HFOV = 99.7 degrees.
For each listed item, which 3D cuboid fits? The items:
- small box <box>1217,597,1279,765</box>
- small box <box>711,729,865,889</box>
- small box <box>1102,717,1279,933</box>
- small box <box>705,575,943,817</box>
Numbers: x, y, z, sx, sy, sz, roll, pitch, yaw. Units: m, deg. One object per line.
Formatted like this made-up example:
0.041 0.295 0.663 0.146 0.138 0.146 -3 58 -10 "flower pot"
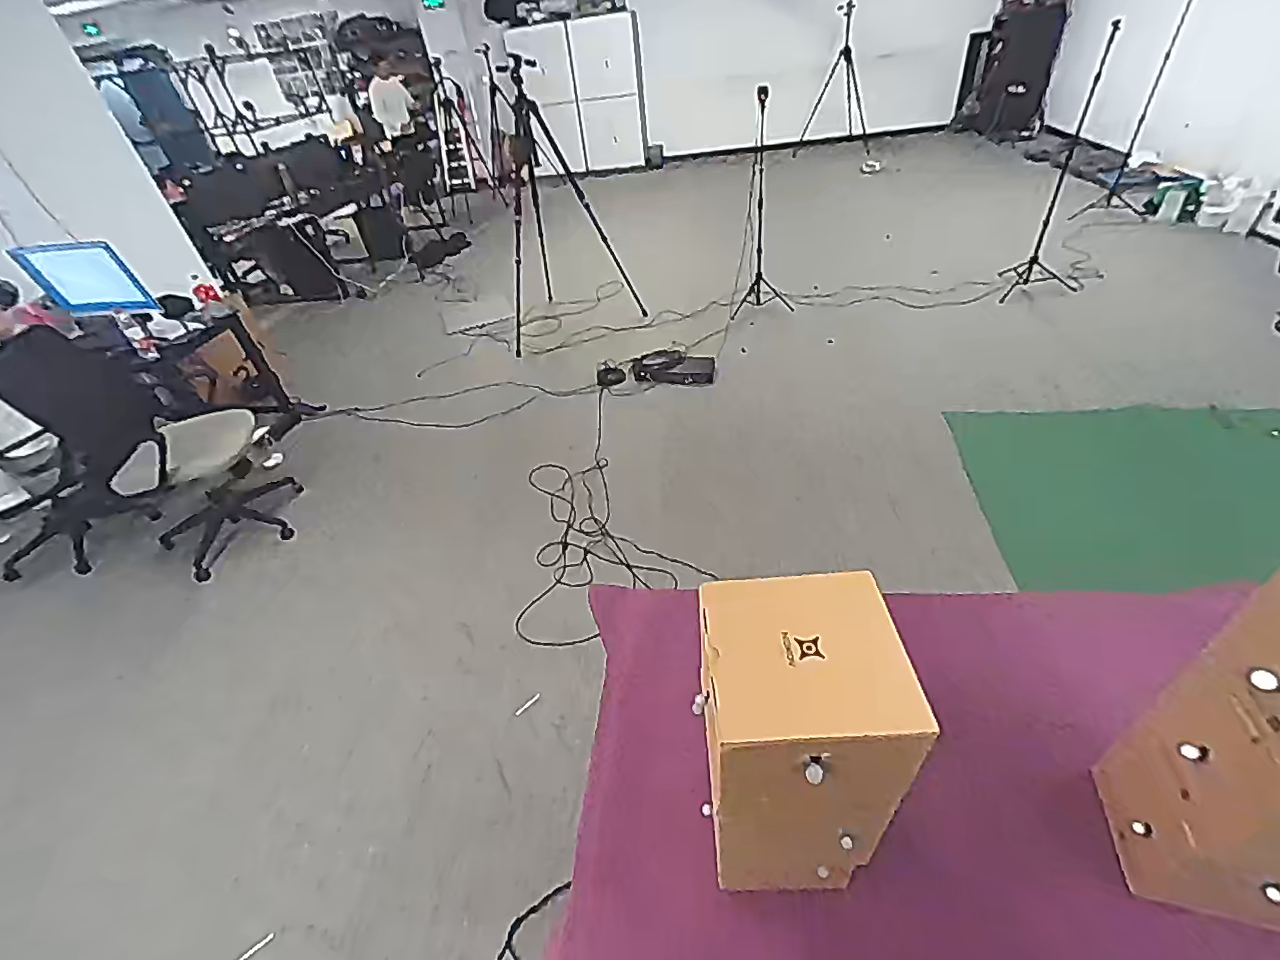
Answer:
0.696 0.184 0.477 0.179 0.176 0.168 3 41 15 "small box"
0.193 0.452 0.759 0.179 0.176 0.168 -5 40 5 "small box"
0.732 0.435 0.685 0.179 0.176 0.168 7 42 17 "small box"
0.159 0.214 0.536 0.179 0.176 0.168 -5 41 4 "small box"
